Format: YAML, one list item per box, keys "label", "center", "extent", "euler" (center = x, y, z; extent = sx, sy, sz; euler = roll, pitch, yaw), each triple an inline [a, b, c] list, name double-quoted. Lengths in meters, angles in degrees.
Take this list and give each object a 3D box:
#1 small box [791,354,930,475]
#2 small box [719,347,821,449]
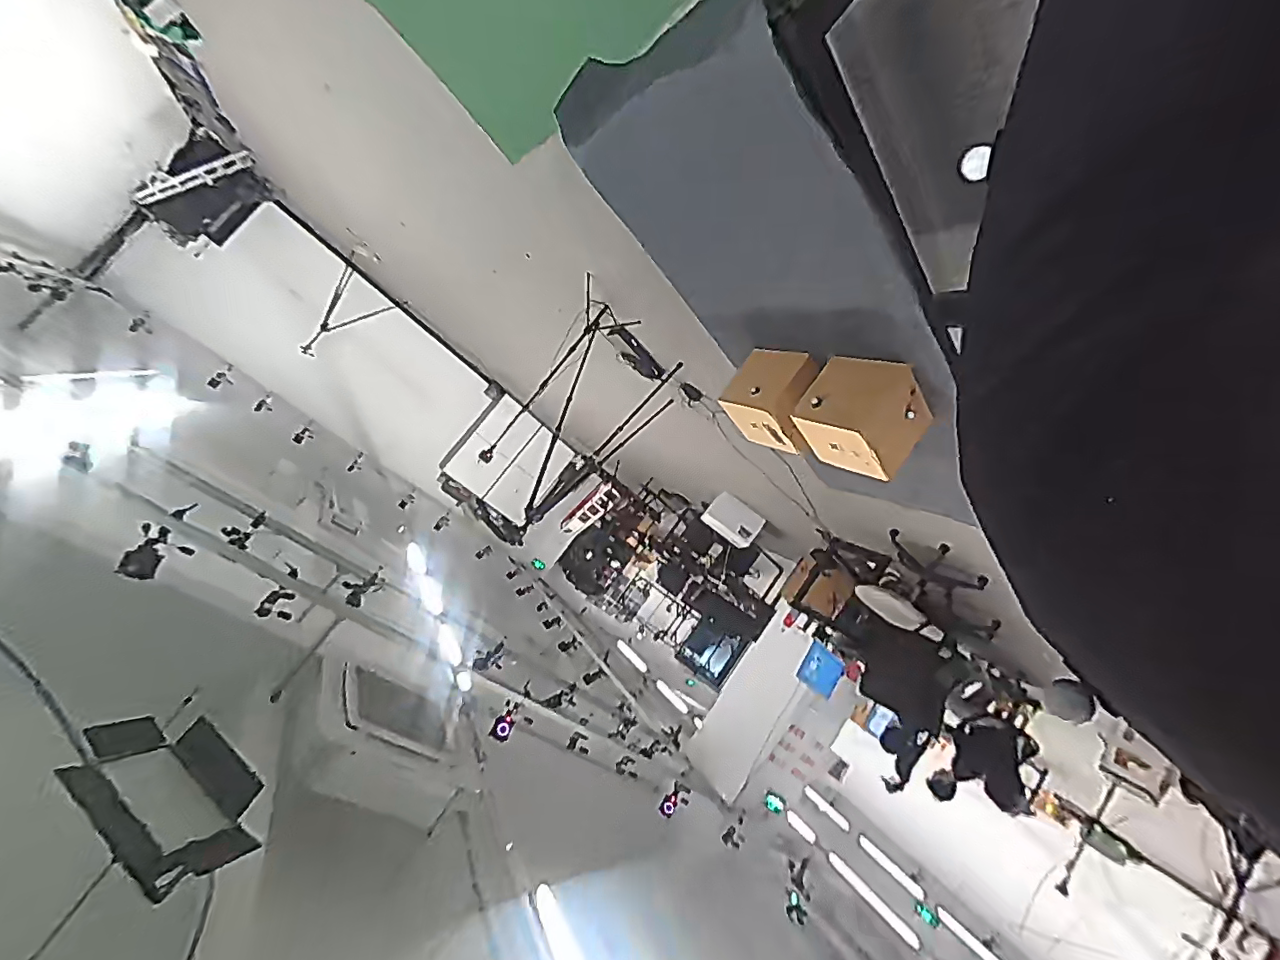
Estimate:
- label: "small box"
  center: [0.454, -0.141, 1.112]
  extent: [0.168, 0.176, 0.179]
  euler: [42, 171, -36]
- label: "small box"
  center: [0.329, -0.200, 1.294]
  extent: [0.168, 0.176, 0.179]
  euler: [42, 170, -36]
